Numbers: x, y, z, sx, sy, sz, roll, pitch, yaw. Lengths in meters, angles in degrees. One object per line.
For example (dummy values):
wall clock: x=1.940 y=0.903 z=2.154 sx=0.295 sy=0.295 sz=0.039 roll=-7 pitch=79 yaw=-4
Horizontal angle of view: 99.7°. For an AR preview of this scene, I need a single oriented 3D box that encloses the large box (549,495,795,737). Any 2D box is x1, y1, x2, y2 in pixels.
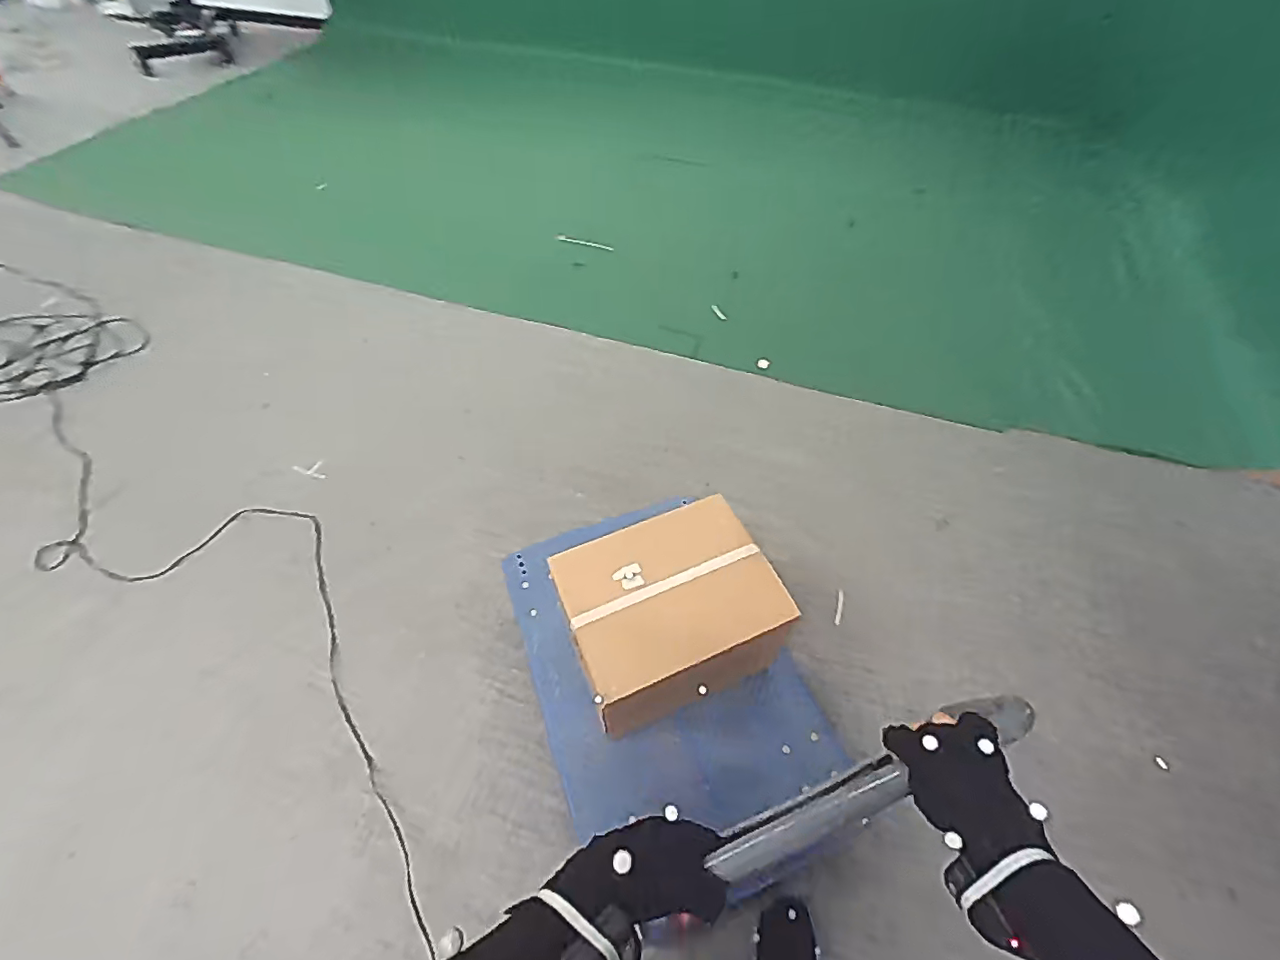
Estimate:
large box: x=0.057 y=0.298 z=1.178 sx=0.408 sy=0.320 sz=0.320 roll=-20 pitch=56 yaw=-14
